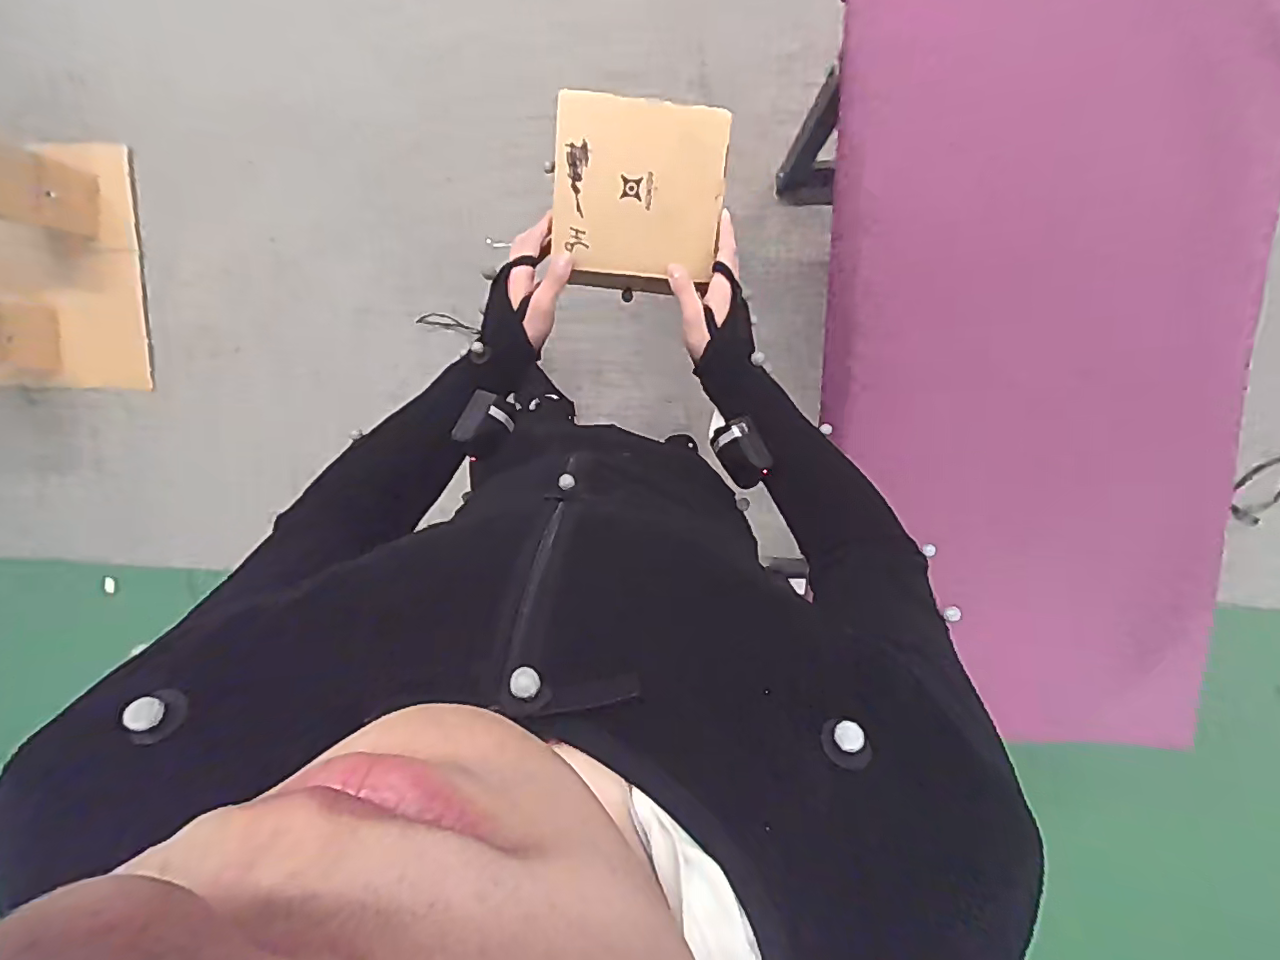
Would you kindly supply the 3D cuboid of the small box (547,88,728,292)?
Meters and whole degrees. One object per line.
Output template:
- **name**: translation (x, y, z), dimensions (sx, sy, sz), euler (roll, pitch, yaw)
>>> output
- **small box**: translation (-0.010, -0.318, 0.631), dimensions (0.179, 0.176, 0.168), euler (4, 104, -5)

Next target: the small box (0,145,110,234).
- **small box**: translation (-1.626, -0.805, 1.496), dimensions (0.168, 0.176, 0.179), euler (8, 100, 2)

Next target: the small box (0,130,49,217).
- **small box**: translation (-1.626, -0.778, 1.333), dimensions (0.168, 0.176, 0.179), euler (12, 100, 1)
